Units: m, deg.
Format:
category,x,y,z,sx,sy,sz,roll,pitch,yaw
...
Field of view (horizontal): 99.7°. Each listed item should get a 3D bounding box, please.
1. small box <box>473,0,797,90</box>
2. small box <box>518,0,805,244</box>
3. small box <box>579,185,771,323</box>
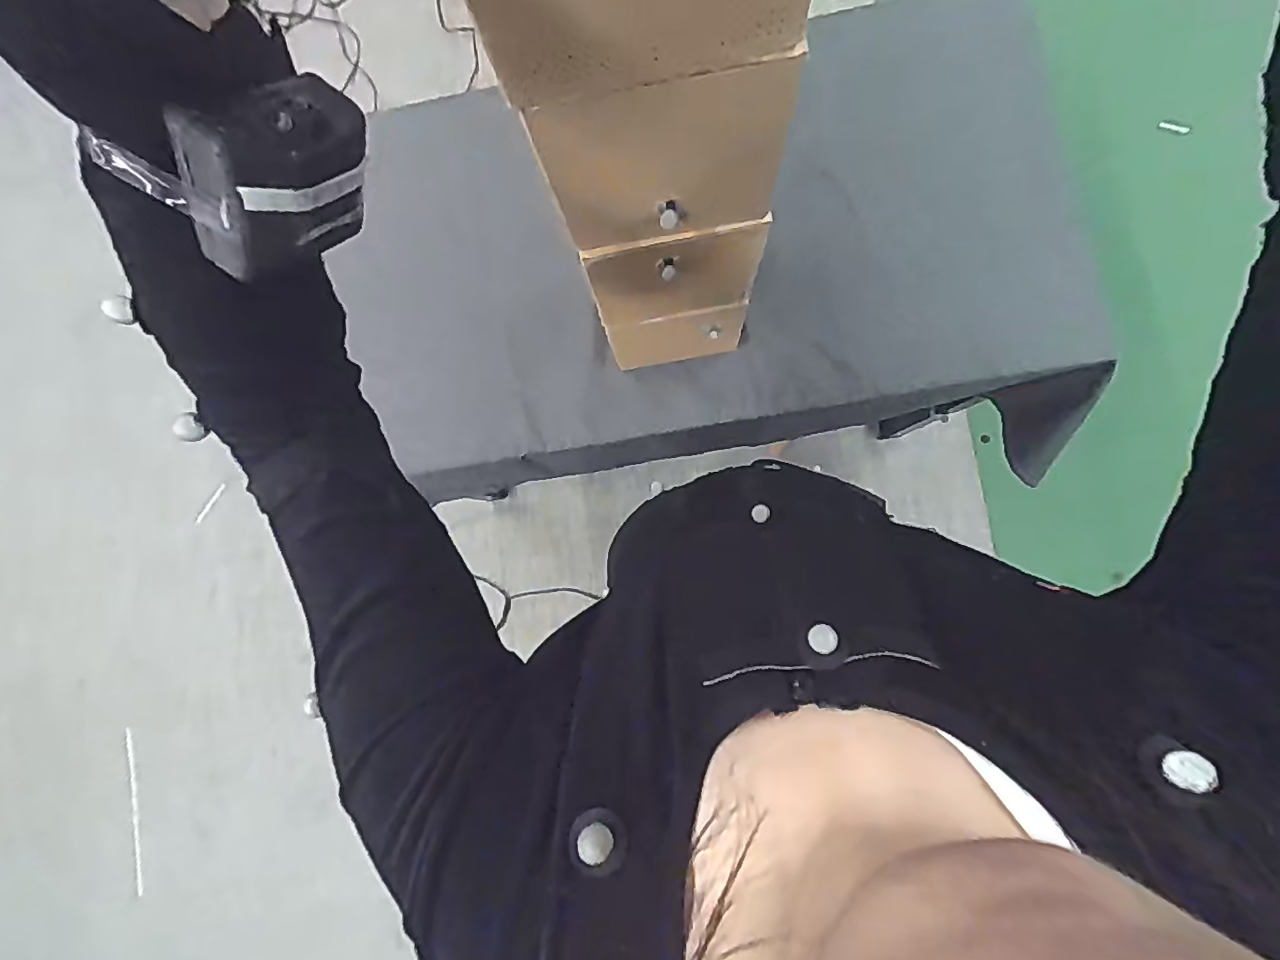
category,x,y,z,sx,sy,sz,roll,pitch,yaw
small box,-0.012,-0.325,0.248,0.179,0.176,0.168,-9,84,4
small box,0.009,-0.307,0.411,0.179,0.176,0.168,-8,84,4
small box,0.025,-0.286,0.573,0.179,0.176,0.168,-10,84,4
